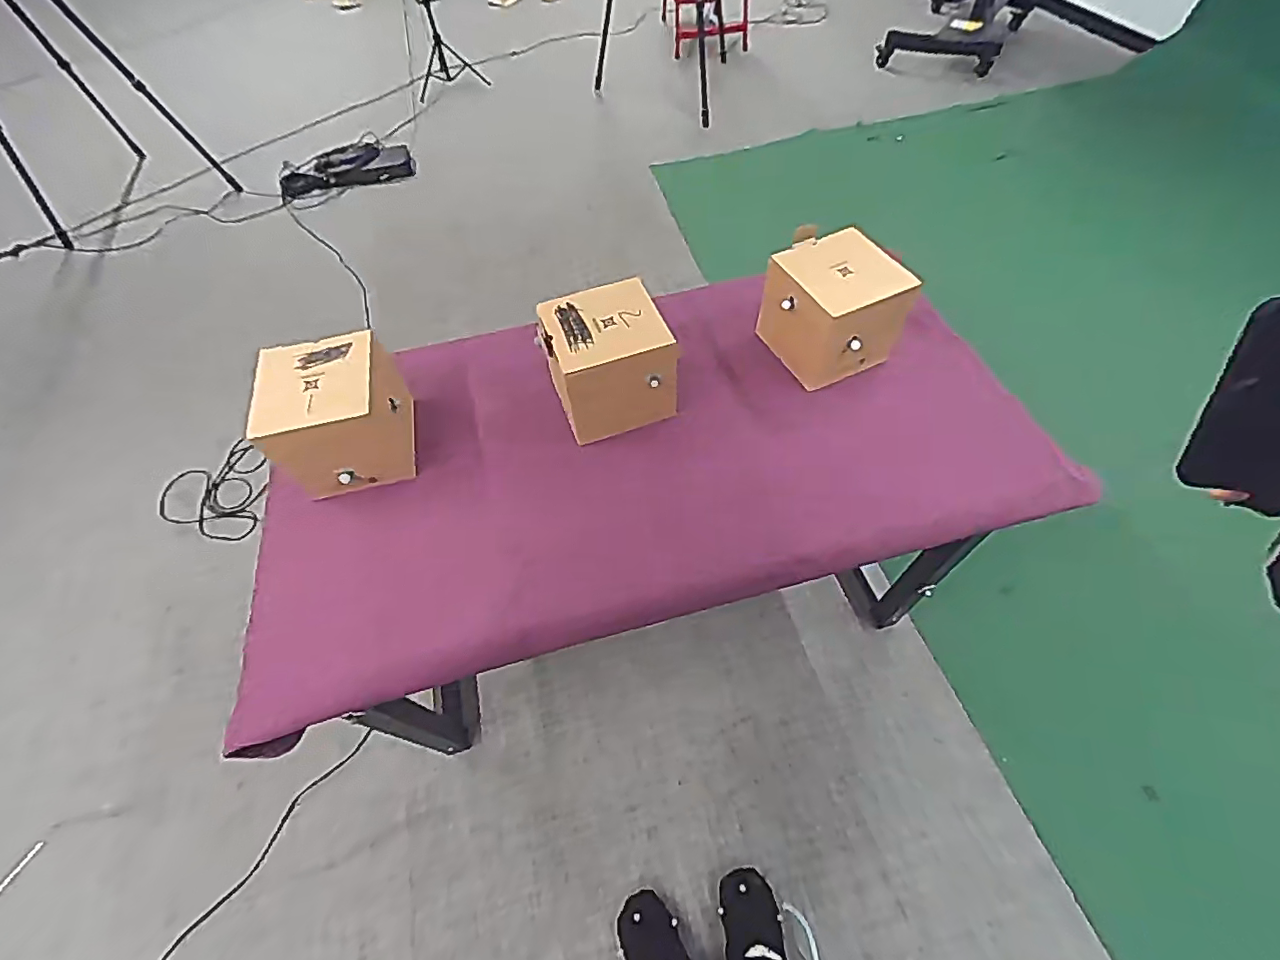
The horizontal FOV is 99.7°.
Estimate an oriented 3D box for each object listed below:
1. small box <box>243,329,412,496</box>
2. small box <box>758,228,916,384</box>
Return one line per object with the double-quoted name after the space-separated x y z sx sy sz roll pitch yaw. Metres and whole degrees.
-0.466 -0.101 0.837 0.168 0.176 0.179 -13 59 -6 "small box"
0.322 -0.287 0.922 0.168 0.176 0.179 -23 58 -11 "small box"
